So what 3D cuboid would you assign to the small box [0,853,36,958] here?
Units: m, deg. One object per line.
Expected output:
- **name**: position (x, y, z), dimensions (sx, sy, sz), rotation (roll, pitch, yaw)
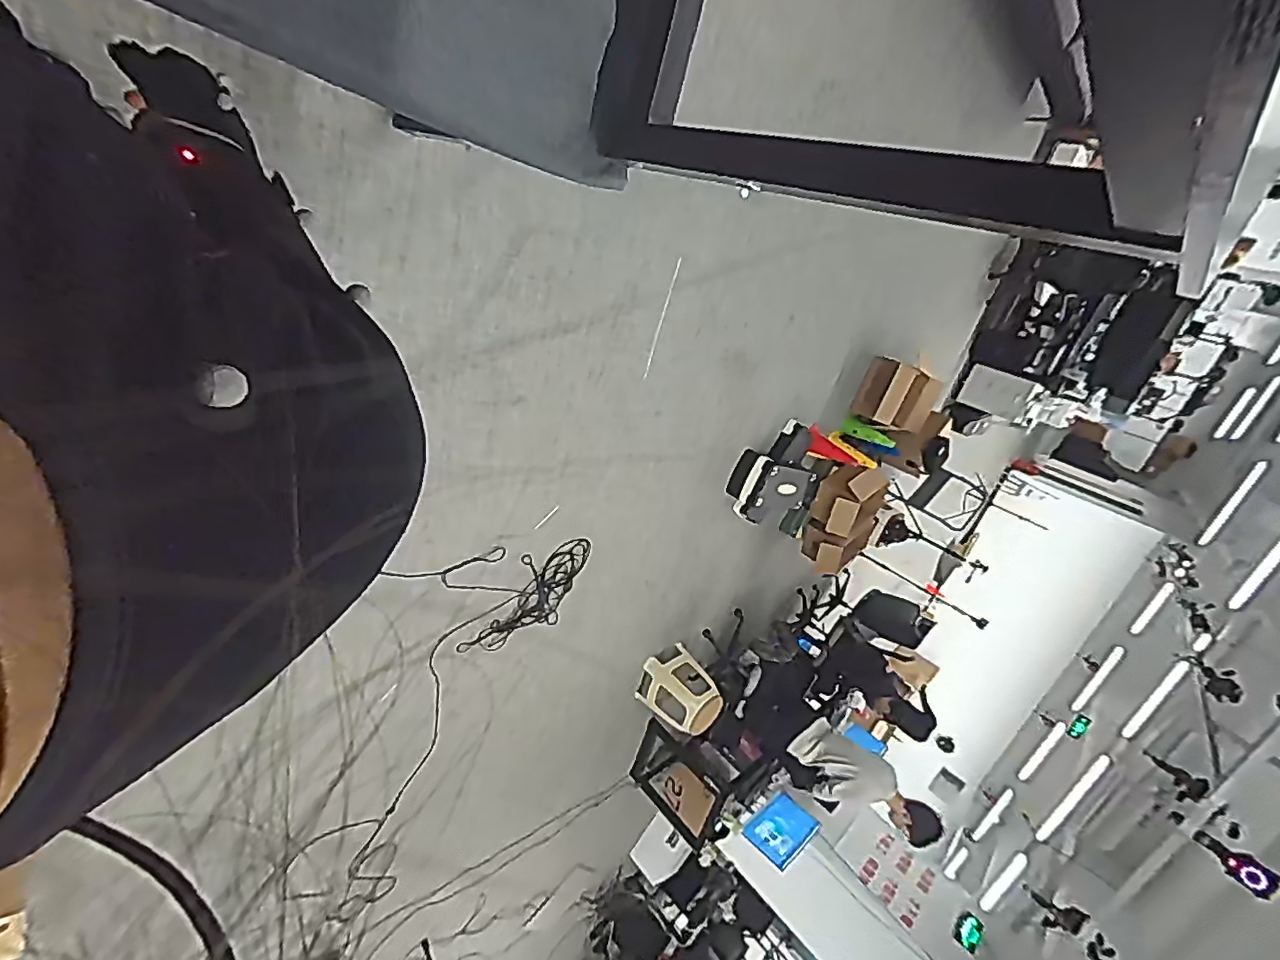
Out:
- **small box**: position (-1.637, 1.075, 1.344), dimensions (0.168, 0.176, 0.179), rotation (5, 114, -50)
